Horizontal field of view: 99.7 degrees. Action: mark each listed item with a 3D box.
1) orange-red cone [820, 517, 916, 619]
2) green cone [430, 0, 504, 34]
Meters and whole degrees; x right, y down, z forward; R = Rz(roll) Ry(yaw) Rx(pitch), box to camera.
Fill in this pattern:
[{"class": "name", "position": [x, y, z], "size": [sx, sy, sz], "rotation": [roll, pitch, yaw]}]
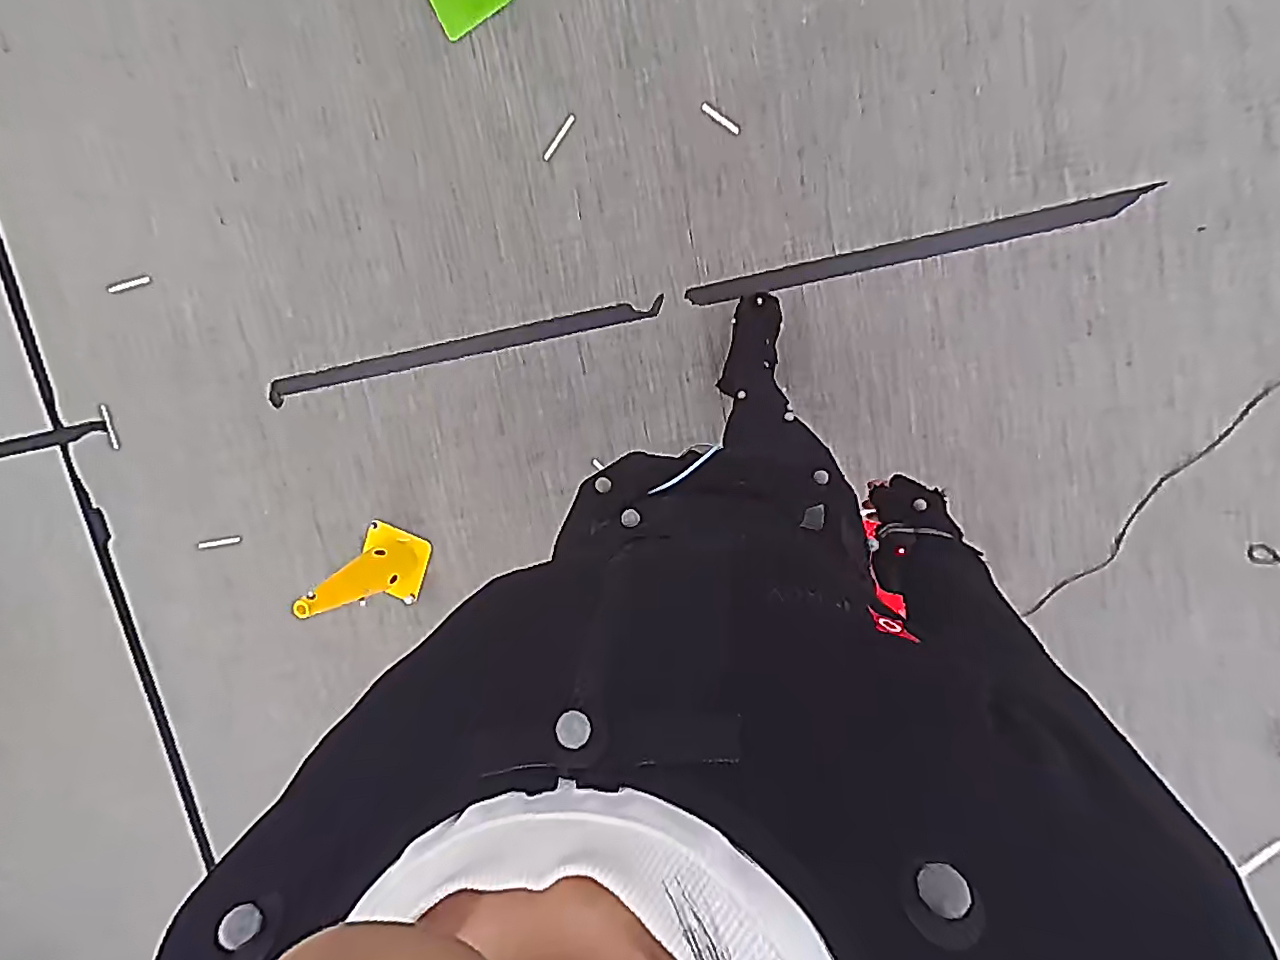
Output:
[{"class": "orange-red cone", "position": [0.534, 0.222, 1.194], "size": [0.199, 0.360, 0.198], "rotation": [-10, 96, 12]}, {"class": "green cone", "position": [-0.451, -1.190, 1.138], "size": [0.202, 0.368, 0.200], "rotation": [-26, 94, 11]}]
